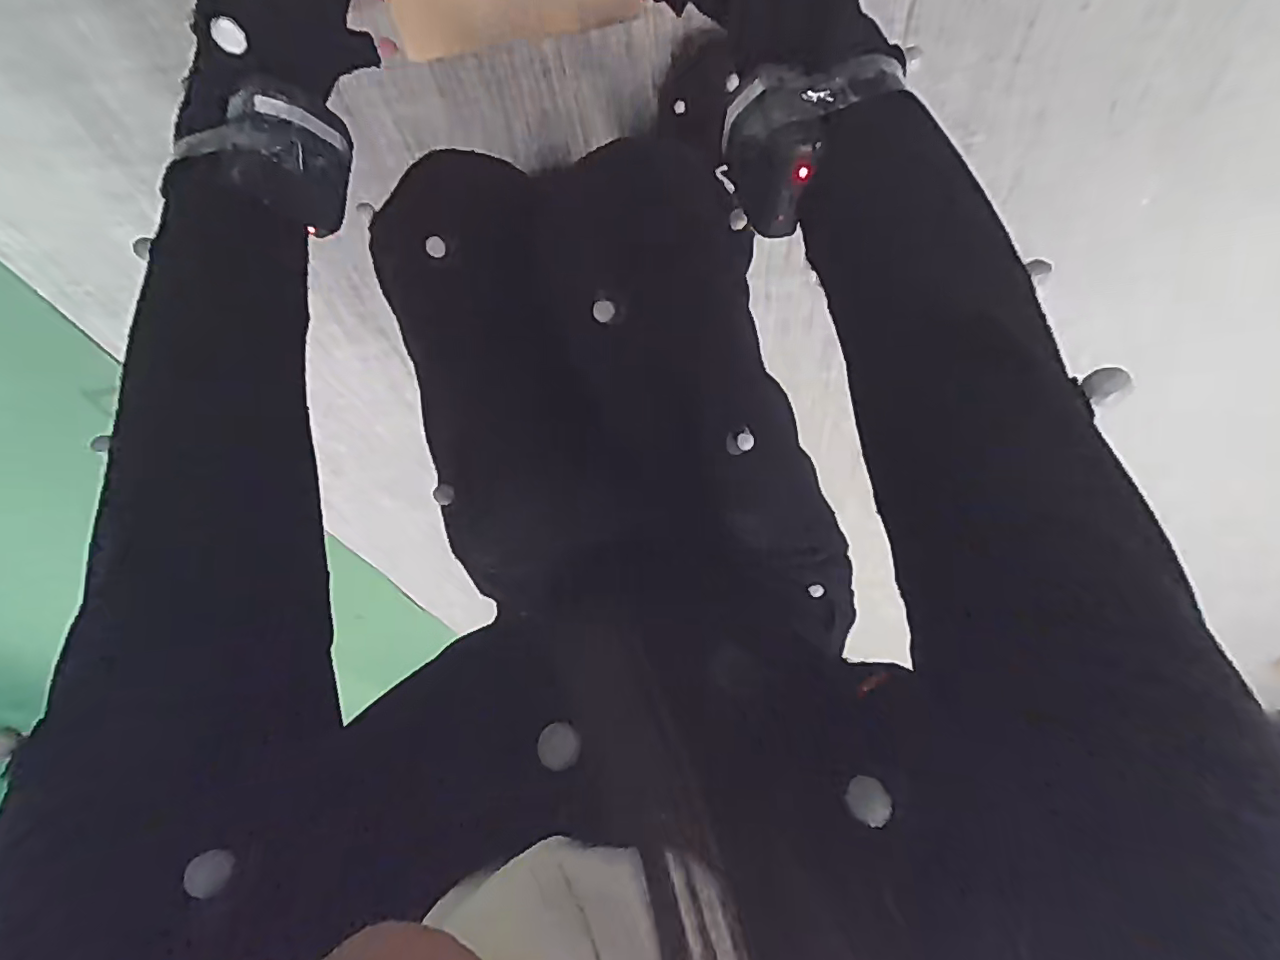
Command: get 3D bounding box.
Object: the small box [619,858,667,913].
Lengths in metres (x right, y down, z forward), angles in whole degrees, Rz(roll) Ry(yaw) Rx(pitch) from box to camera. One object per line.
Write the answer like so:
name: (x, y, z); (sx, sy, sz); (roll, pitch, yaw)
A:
small box: (0.016, 1.646, 2.200); (0.179, 0.176, 0.168); (-5, 147, 8)

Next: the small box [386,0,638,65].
small box: (-0.096, -0.430, 0.383); (0.179, 0.176, 0.168); (-3, 141, 7)
